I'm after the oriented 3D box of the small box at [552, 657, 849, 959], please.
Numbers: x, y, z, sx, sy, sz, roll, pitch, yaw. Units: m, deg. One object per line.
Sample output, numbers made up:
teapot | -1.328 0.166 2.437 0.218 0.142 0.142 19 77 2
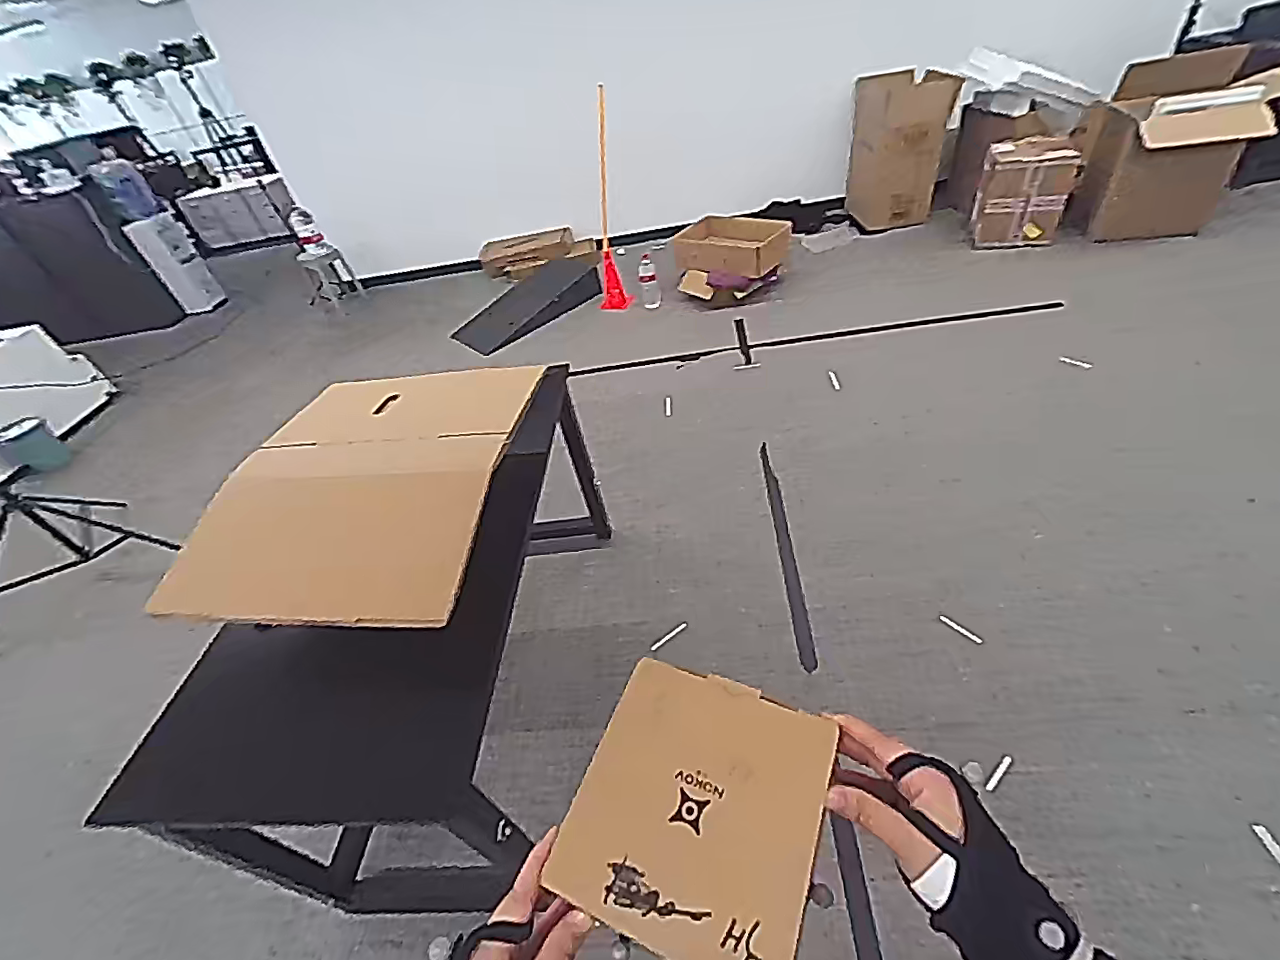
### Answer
small box | 0.061 0.282 0.435 0.168 0.176 0.179 10 47 27
